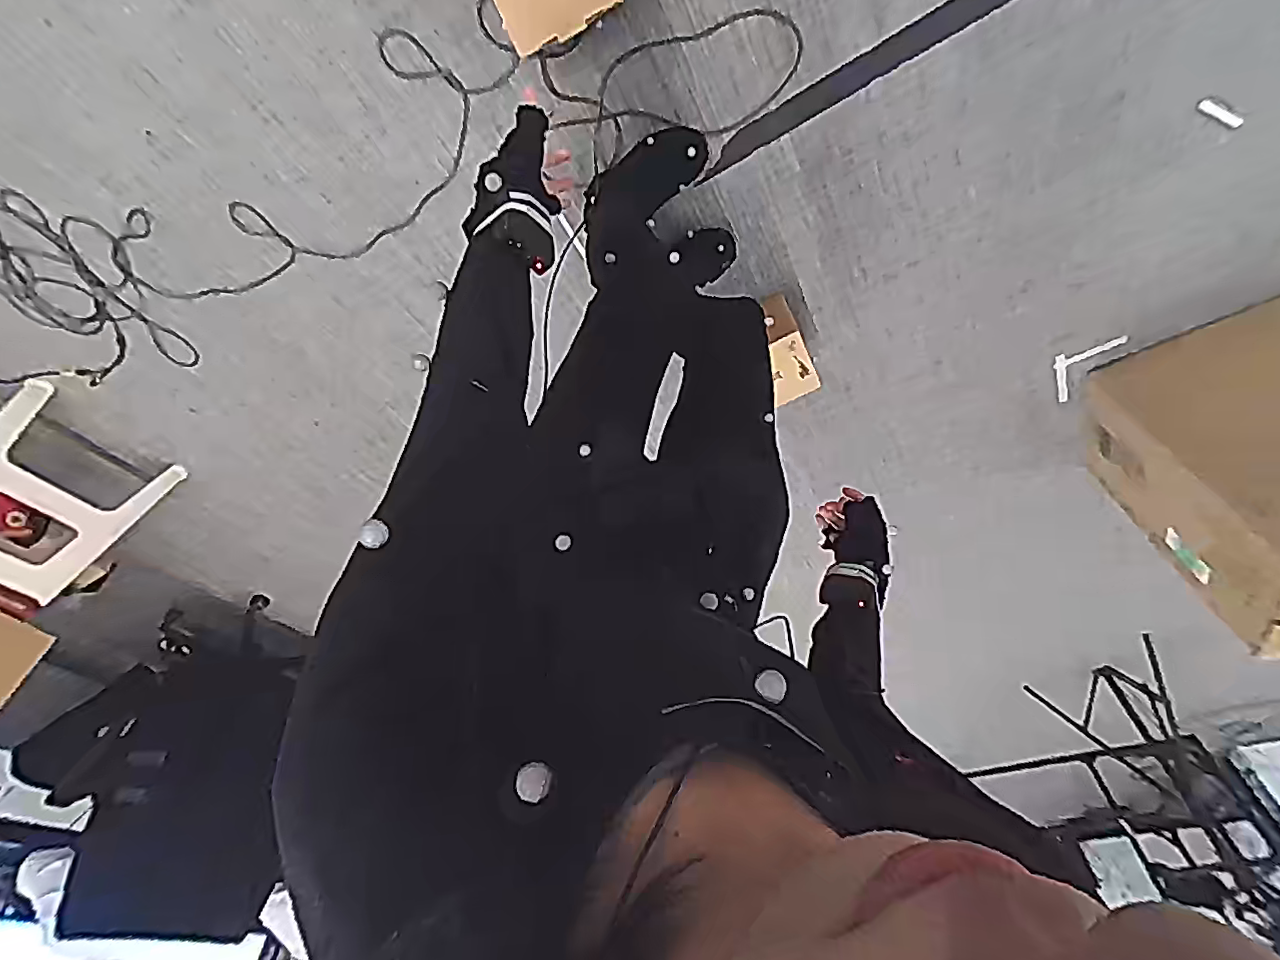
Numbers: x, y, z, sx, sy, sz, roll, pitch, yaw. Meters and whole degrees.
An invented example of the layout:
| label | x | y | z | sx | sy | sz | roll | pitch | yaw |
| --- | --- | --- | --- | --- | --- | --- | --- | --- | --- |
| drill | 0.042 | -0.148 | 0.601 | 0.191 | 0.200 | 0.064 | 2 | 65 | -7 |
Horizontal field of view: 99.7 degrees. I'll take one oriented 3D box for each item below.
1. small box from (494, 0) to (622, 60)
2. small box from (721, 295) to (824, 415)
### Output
| label | x | y | z | sx | sy | sz | roll | pitch | yaw |
| --- | --- | --- | --- | --- | --- | --- | --- | --- | --- |
| small box | -0.131 | -0.740 | 0.762 | 0.168 | 0.176 | 0.179 | -20 | 129 | 15 |
| small box | 0.294 | -0.285 | 1.231 | 0.179 | 0.176 | 0.168 | -23 | 131 | 21 |
